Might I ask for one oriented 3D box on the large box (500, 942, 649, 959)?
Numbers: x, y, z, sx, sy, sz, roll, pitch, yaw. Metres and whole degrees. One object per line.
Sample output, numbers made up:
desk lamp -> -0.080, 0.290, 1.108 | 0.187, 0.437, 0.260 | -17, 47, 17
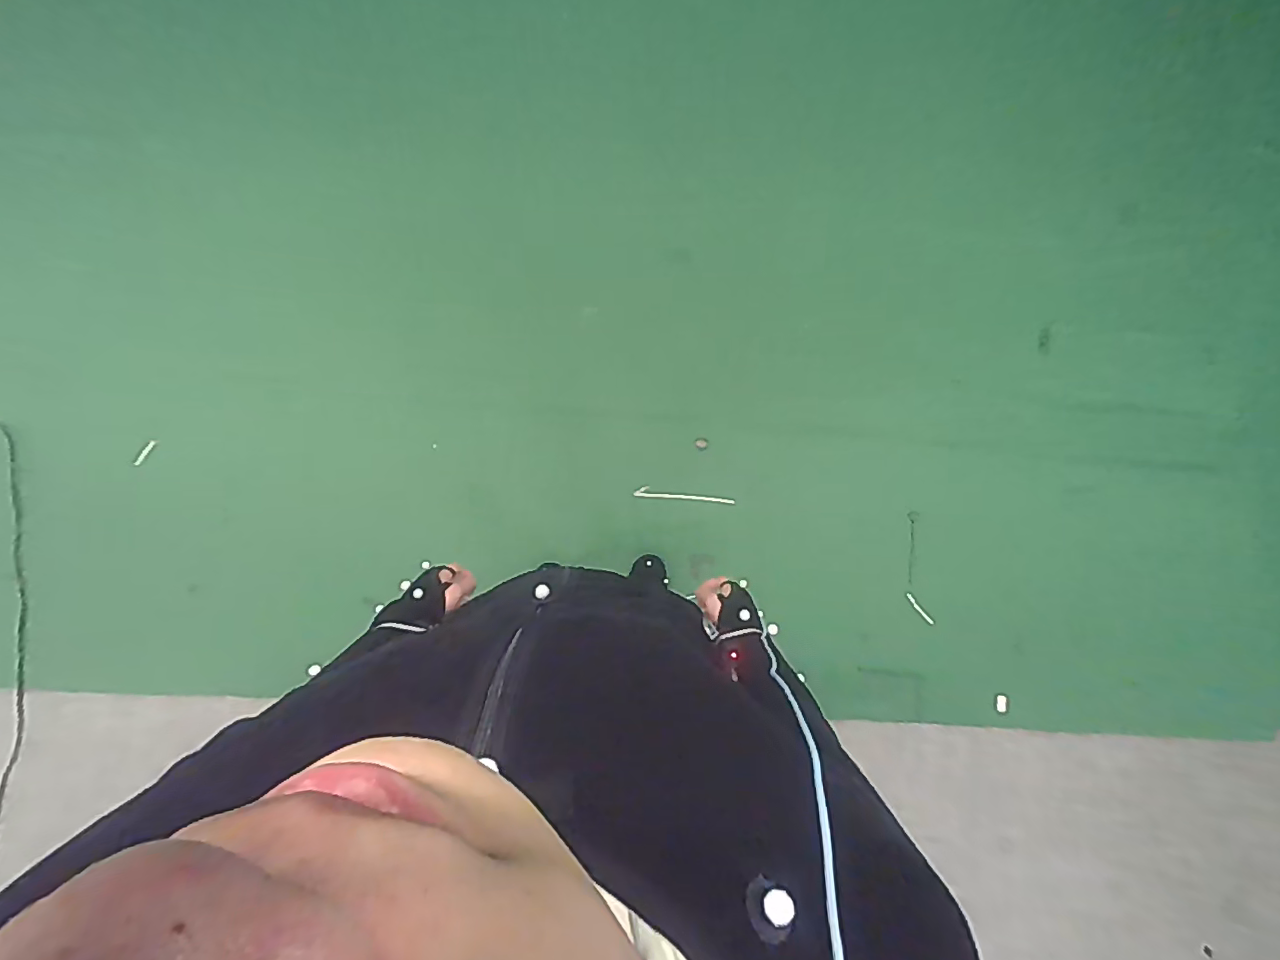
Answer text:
large box -> -0.169, 1.412, 1.330 | 0.408, 0.320, 0.320 | 2, 82, -4
